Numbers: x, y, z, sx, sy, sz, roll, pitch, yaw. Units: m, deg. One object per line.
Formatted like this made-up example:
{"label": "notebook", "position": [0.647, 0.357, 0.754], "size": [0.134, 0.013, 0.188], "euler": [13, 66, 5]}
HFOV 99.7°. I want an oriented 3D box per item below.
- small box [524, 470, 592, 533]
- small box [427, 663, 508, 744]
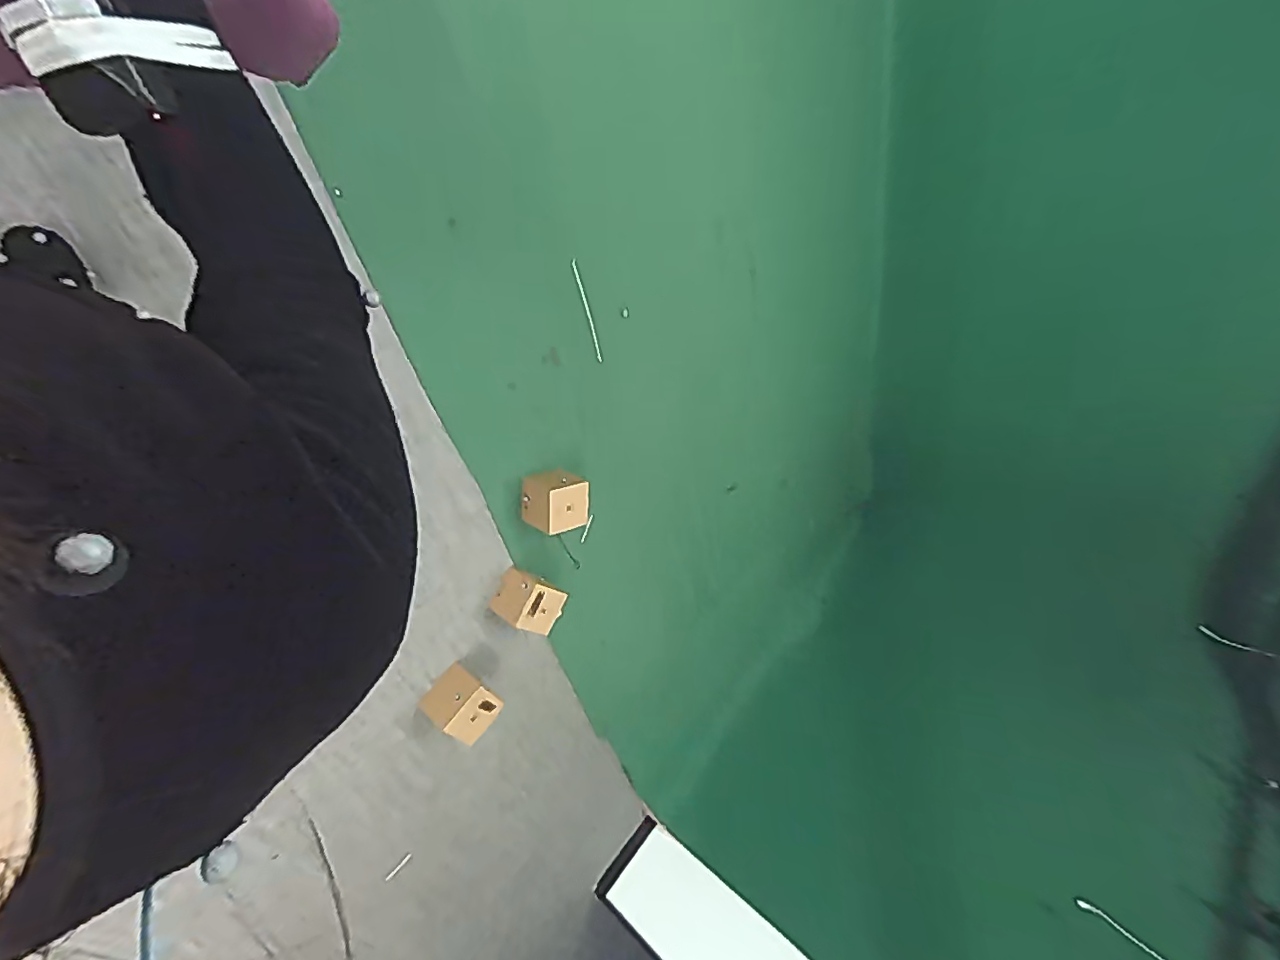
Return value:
{"label": "small box", "position": [-0.295, 0.069, 1.938], "size": [0.179, 0.176, 0.168], "euler": [-15, 115, -44]}
{"label": "small box", "position": [-0.601, 0.769, 1.877], "size": [0.179, 0.176, 0.168], "euler": [-49, 135, -22]}
